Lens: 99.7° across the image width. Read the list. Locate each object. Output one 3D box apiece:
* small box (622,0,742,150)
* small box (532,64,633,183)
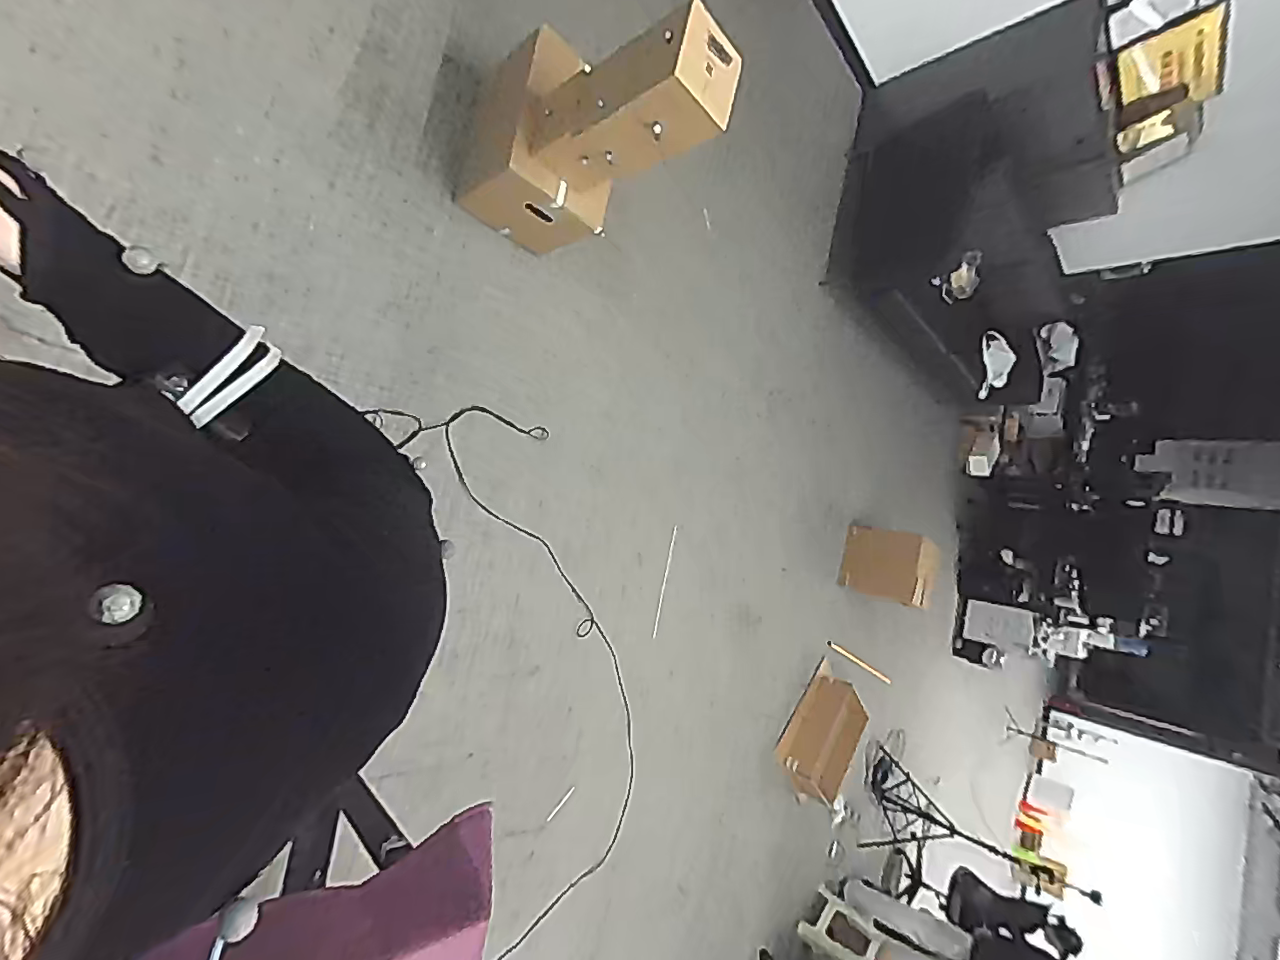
[{"bbox_3d":[0.085,-0.844,1.136,0.168,0.176,0.179,19,83,-43],"label":"small box"},{"bbox_3d":[-0.145,-0.885,1.369,0.179,0.176,0.168,14,85,-43],"label":"small box"}]
